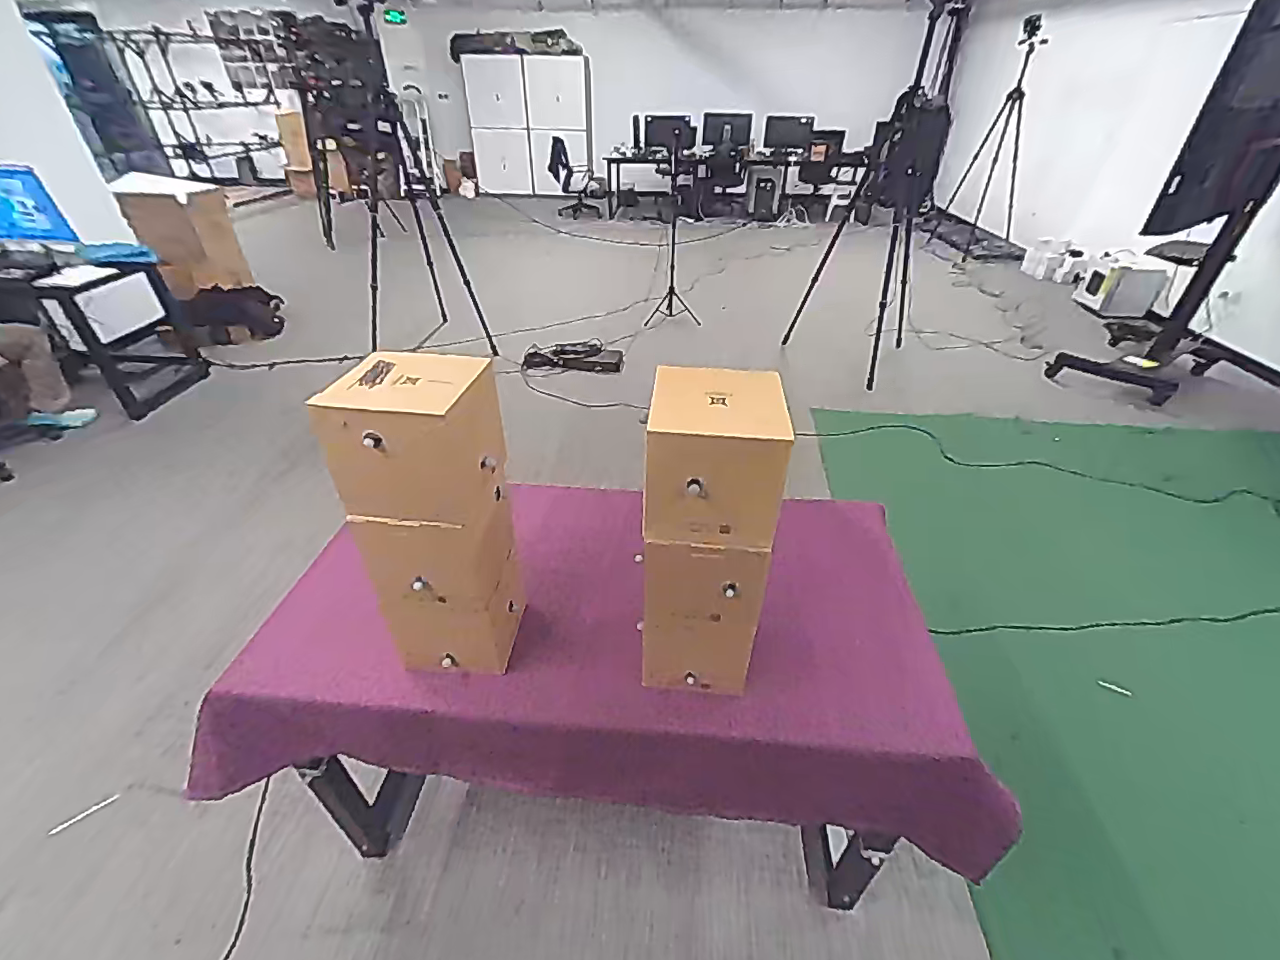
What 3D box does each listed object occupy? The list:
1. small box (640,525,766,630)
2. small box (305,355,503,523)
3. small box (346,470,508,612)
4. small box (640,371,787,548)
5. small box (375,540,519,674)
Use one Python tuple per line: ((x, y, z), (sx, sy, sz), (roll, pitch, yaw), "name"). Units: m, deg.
((0.089, 0.103, 0.809), (0.168, 0.176, 0.179), (4, 36, 4), "small box")
((-0.303, -0.057, 0.738), (0.179, 0.176, 0.168), (5, 36, 4), "small box")
((-0.311, 0.076, 0.834), (0.168, 0.176, 0.179), (3, 36, 4), "small box")
((0.090, -0.029, 0.714), (0.168, 0.176, 0.179), (4, 36, 4), "small box")
((-0.314, 0.213, 0.927), (0.179, 0.176, 0.168), (3, 36, 2), "small box")
